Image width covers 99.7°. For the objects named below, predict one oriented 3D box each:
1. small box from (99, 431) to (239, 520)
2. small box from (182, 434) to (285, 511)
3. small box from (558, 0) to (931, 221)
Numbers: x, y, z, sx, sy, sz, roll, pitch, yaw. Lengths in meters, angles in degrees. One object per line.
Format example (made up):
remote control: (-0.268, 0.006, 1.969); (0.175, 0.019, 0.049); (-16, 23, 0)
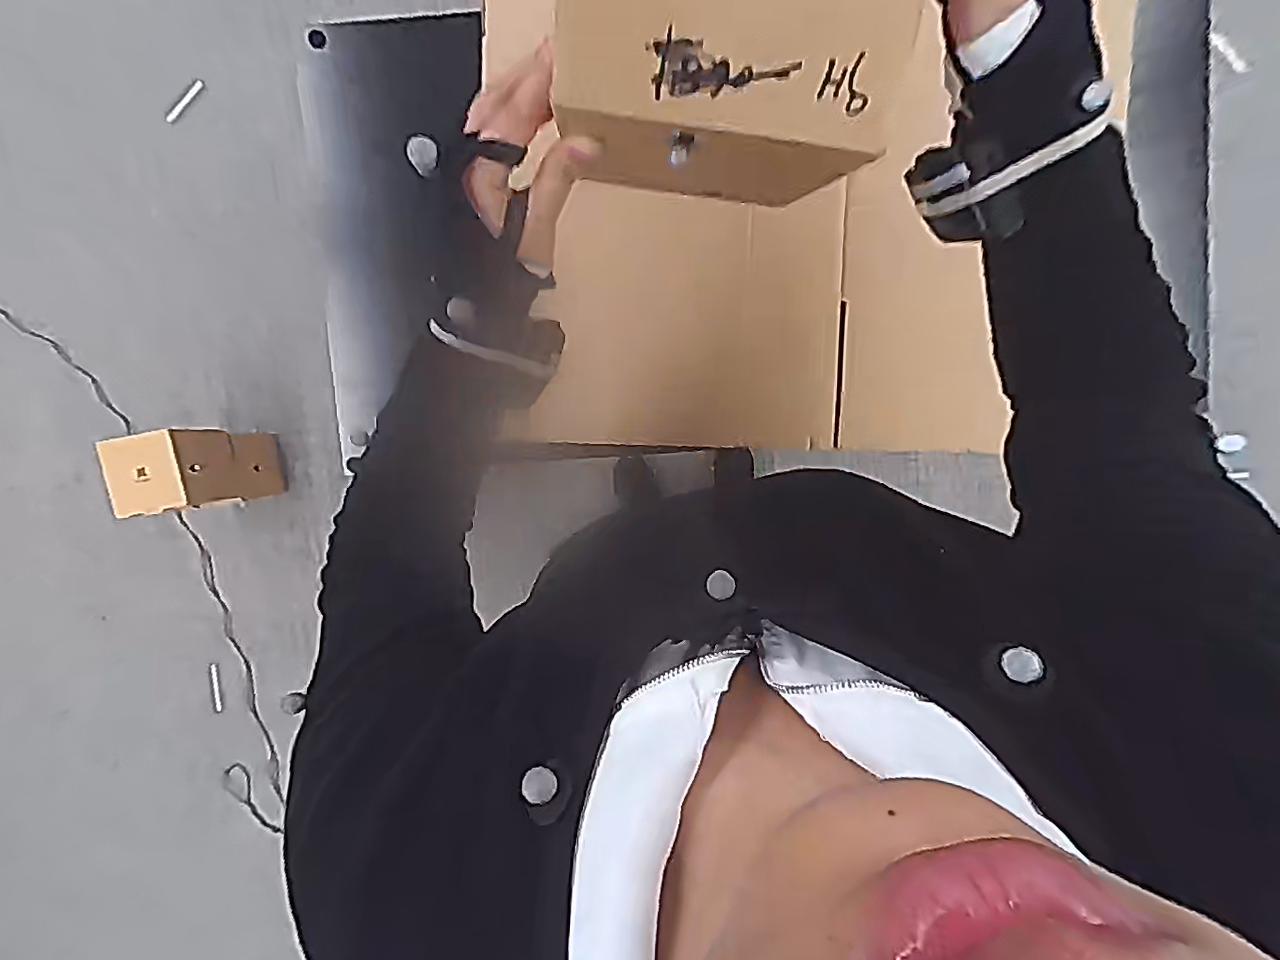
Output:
small box: (-1.085, -0.016, 1.263); (0.168, 0.176, 0.179); (-11, 93, 1)
small box: (-1.081, -0.023, 1.426); (0.168, 0.176, 0.179); (-8, 95, 1)
small box: (0.049, -0.266, 0.309); (0.168, 0.176, 0.179); (6, 107, -4)
